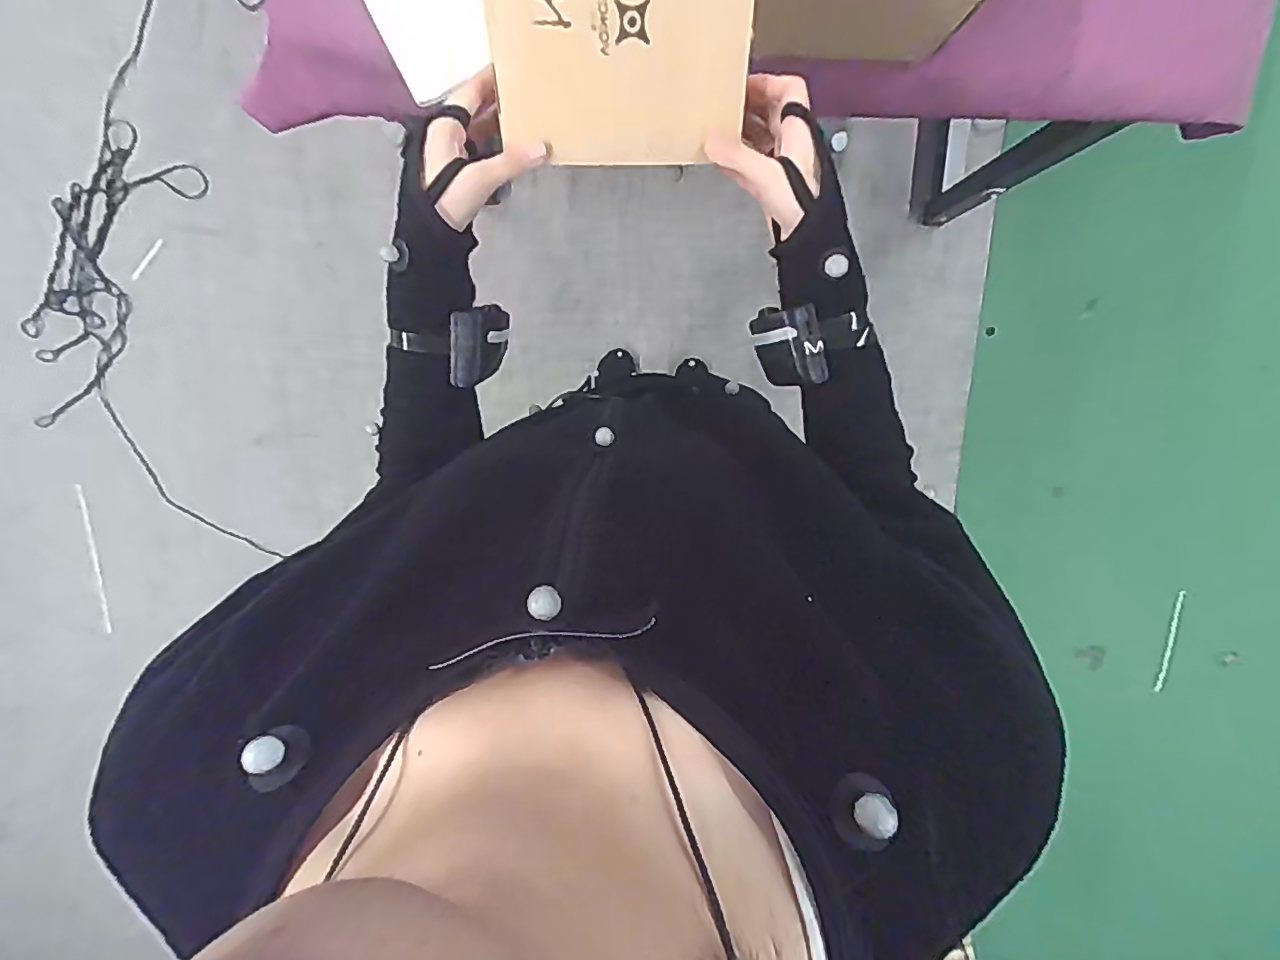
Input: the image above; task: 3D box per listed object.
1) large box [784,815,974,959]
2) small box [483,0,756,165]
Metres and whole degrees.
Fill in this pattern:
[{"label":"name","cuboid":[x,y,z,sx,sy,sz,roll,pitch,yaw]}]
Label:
[{"label":"large box","cuboid":[0.675,1.246,1.562,0.408,0.320,0.320,-13,101,3]},{"label":"small box","cuboid":[-0.014,-0.347,0.409,0.179,0.176,0.168,0,128,0]}]
